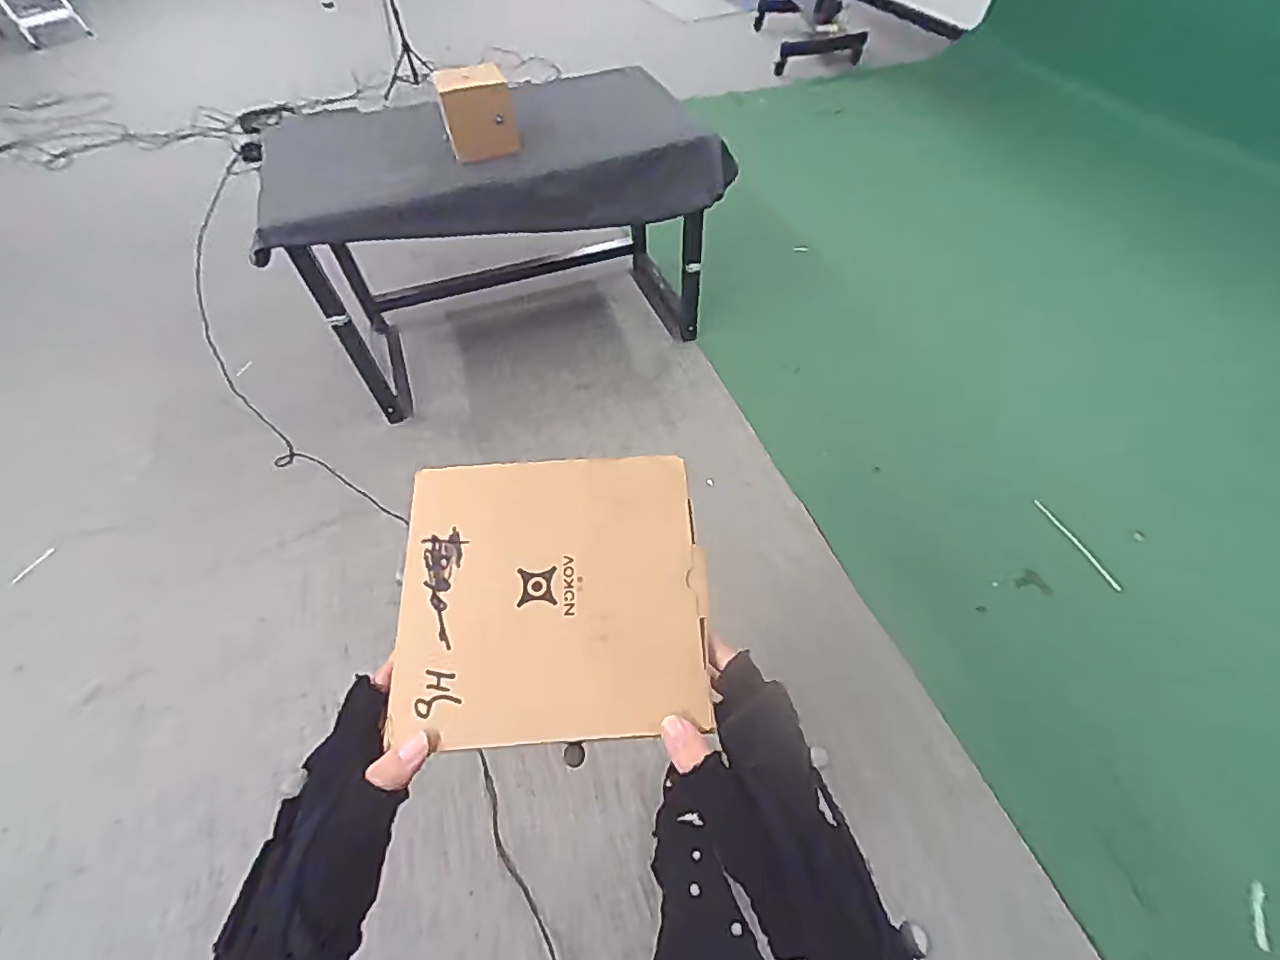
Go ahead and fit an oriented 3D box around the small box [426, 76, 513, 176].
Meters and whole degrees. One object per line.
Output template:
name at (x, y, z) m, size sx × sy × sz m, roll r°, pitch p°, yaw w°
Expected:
small box at (-0.456, -0.960, 1.469) m, size 0.179 × 0.176 × 0.168 m, roll -20°, pitch 53°, yaw -11°
